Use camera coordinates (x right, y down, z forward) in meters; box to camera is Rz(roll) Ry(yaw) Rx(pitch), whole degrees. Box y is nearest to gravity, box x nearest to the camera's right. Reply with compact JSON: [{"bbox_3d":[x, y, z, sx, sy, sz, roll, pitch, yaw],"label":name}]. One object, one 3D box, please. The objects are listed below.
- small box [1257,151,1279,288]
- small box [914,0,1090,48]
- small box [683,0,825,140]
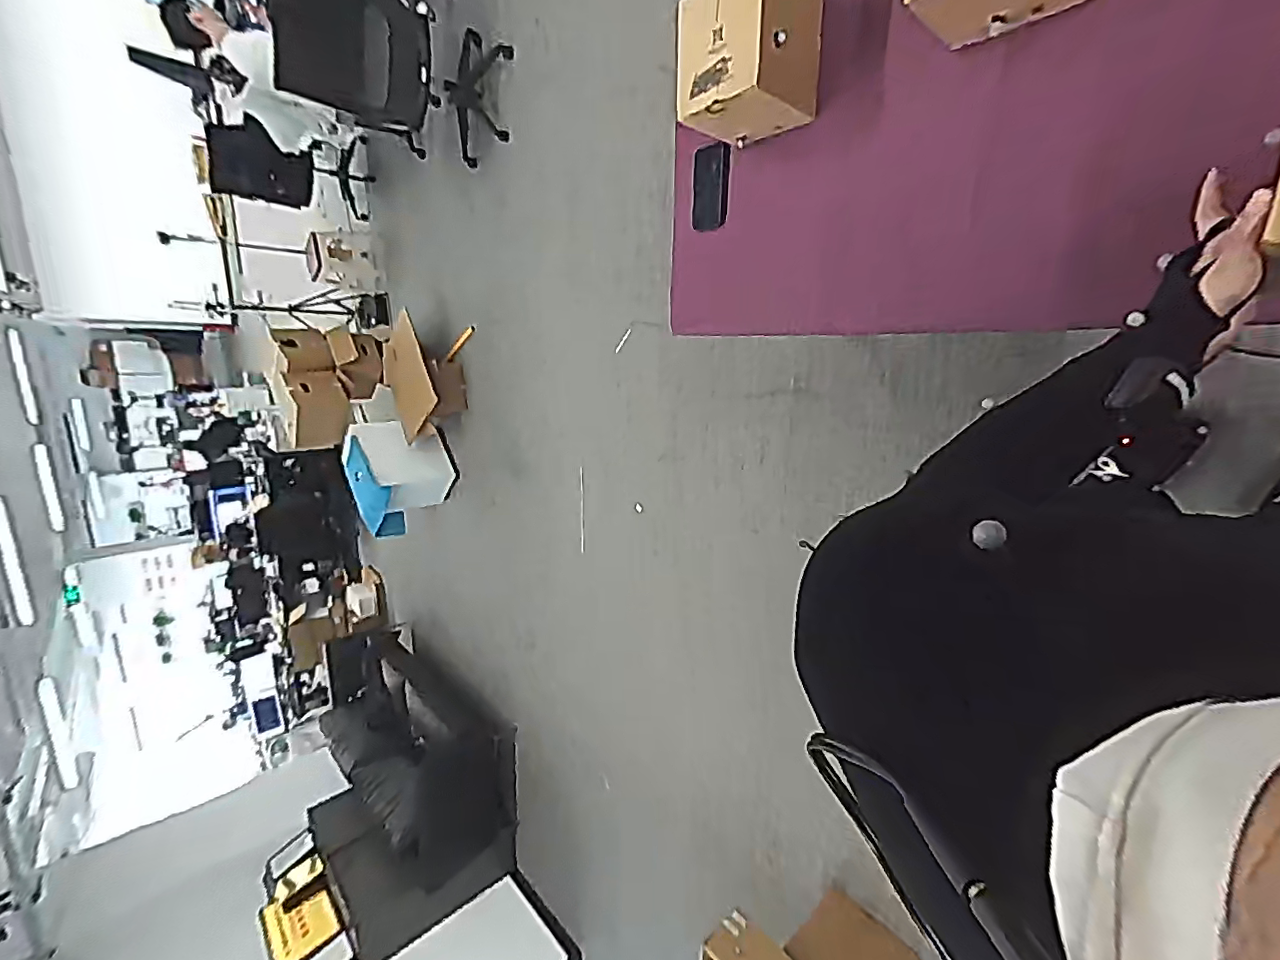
[{"bbox_3d":[0.595,-0.253,0.394,0.168,0.176,0.179,18,103,48],"label":"small box"},{"bbox_3d":[0.434,-0.658,0.626,0.168,0.176,0.179,14,109,47],"label":"small box"},{"bbox_3d":[0.189,-0.690,0.895,0.168,0.176,0.179,13,107,46],"label":"small box"}]
